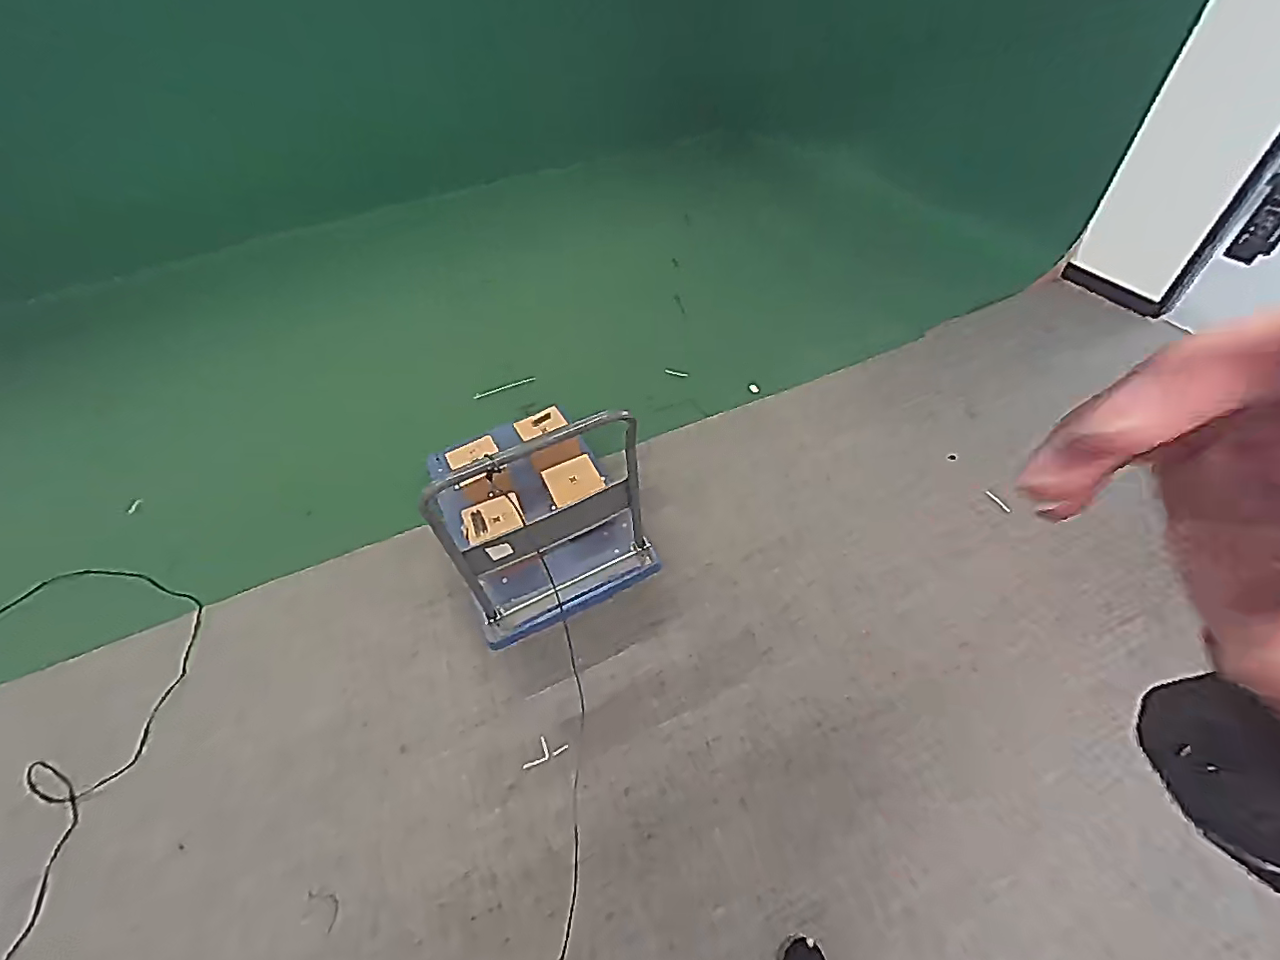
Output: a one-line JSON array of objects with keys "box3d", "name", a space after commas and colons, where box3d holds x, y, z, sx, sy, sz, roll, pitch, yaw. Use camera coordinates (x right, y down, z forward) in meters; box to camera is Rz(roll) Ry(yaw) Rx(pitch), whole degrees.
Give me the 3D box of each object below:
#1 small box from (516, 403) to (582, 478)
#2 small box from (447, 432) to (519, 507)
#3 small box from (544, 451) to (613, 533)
[{"box3d": [-0.321, -0.138, 1.936, 0.168, 0.176, 0.179, -27, 54, -15], "name": "small box"}, {"box3d": [-0.537, -0.028, 1.867, 0.168, 0.176, 0.179, -26, 52, -16], "name": "small box"}, {"box3d": [-0.201, 0.042, 1.775, 0.168, 0.176, 0.179, -22, 53, -13], "name": "small box"}]
